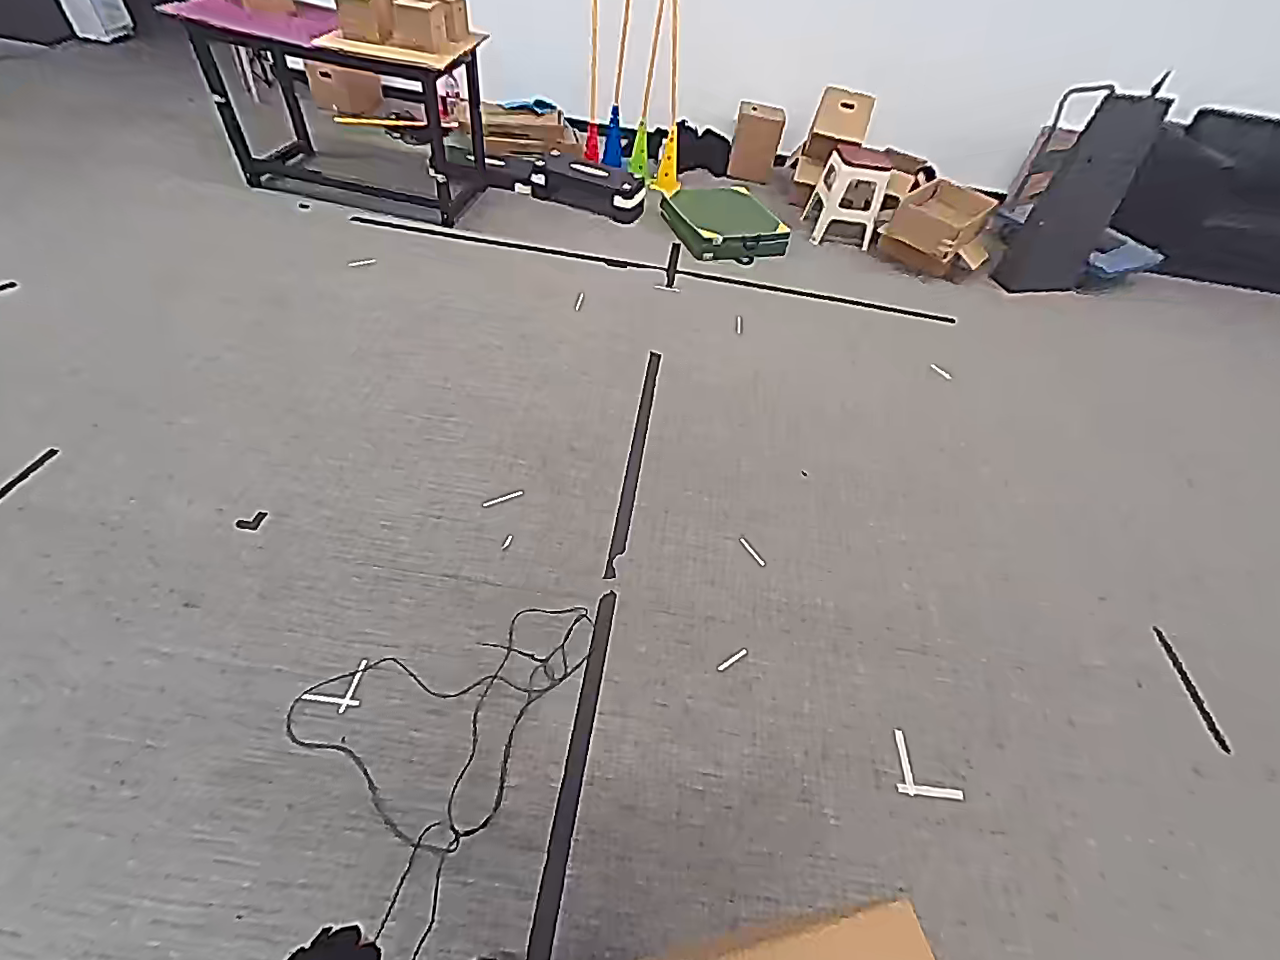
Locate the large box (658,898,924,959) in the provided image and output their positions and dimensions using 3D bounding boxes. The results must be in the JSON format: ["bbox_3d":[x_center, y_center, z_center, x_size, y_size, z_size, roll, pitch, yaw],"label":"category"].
[{"bbox_3d":[0.172,0.778,0.682,0.320,0.408,0.320,5,46,-22],"label":"large box"}]
